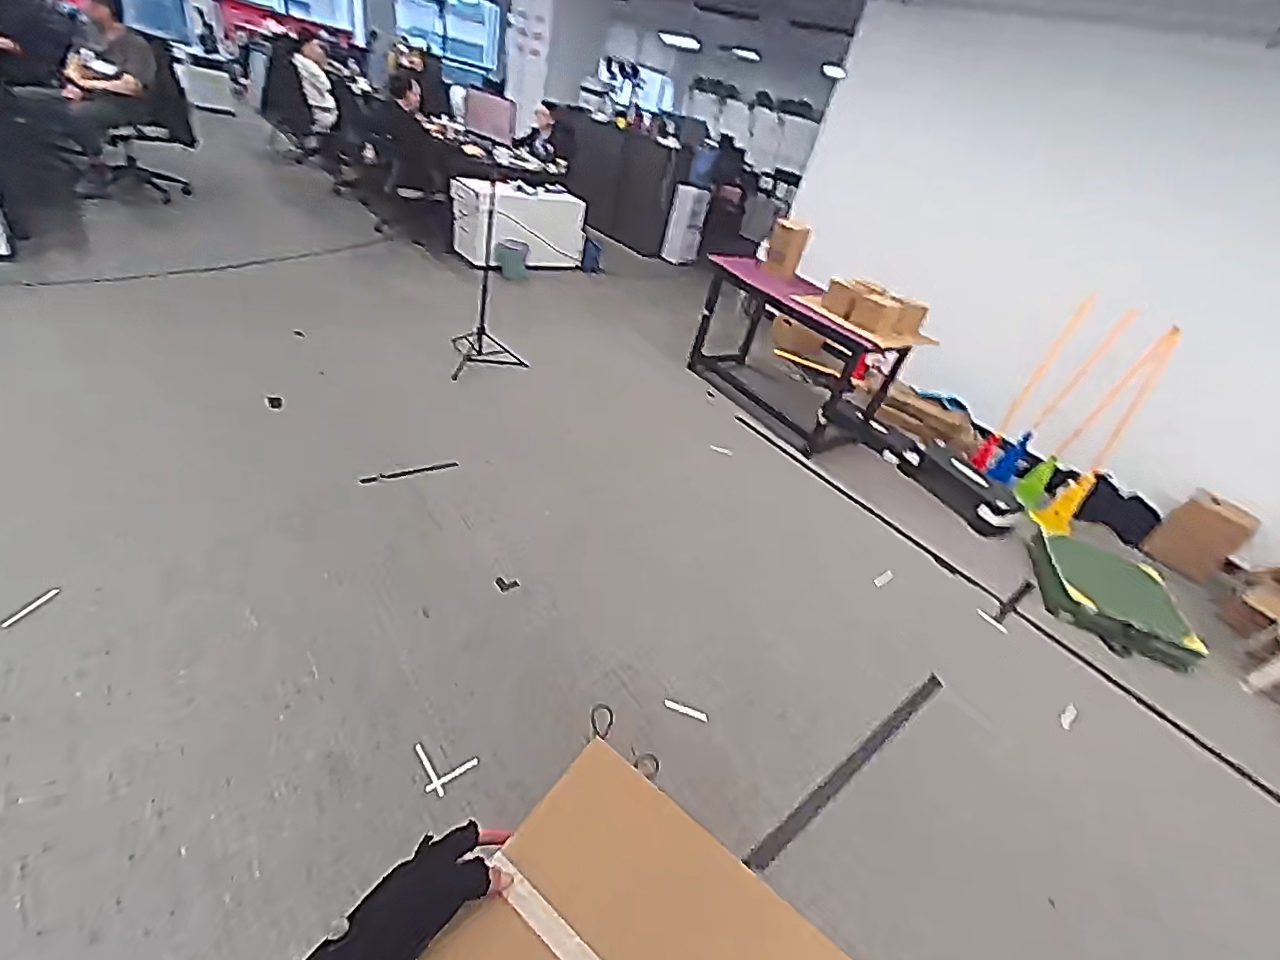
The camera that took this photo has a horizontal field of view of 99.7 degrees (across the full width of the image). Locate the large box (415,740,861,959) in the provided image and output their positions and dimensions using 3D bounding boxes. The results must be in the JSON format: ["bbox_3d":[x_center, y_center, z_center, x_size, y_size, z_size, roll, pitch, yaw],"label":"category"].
[{"bbox_3d":[-0.010,0.571,0.552,0.408,0.320,0.320,33,44,20],"label":"large box"}]
